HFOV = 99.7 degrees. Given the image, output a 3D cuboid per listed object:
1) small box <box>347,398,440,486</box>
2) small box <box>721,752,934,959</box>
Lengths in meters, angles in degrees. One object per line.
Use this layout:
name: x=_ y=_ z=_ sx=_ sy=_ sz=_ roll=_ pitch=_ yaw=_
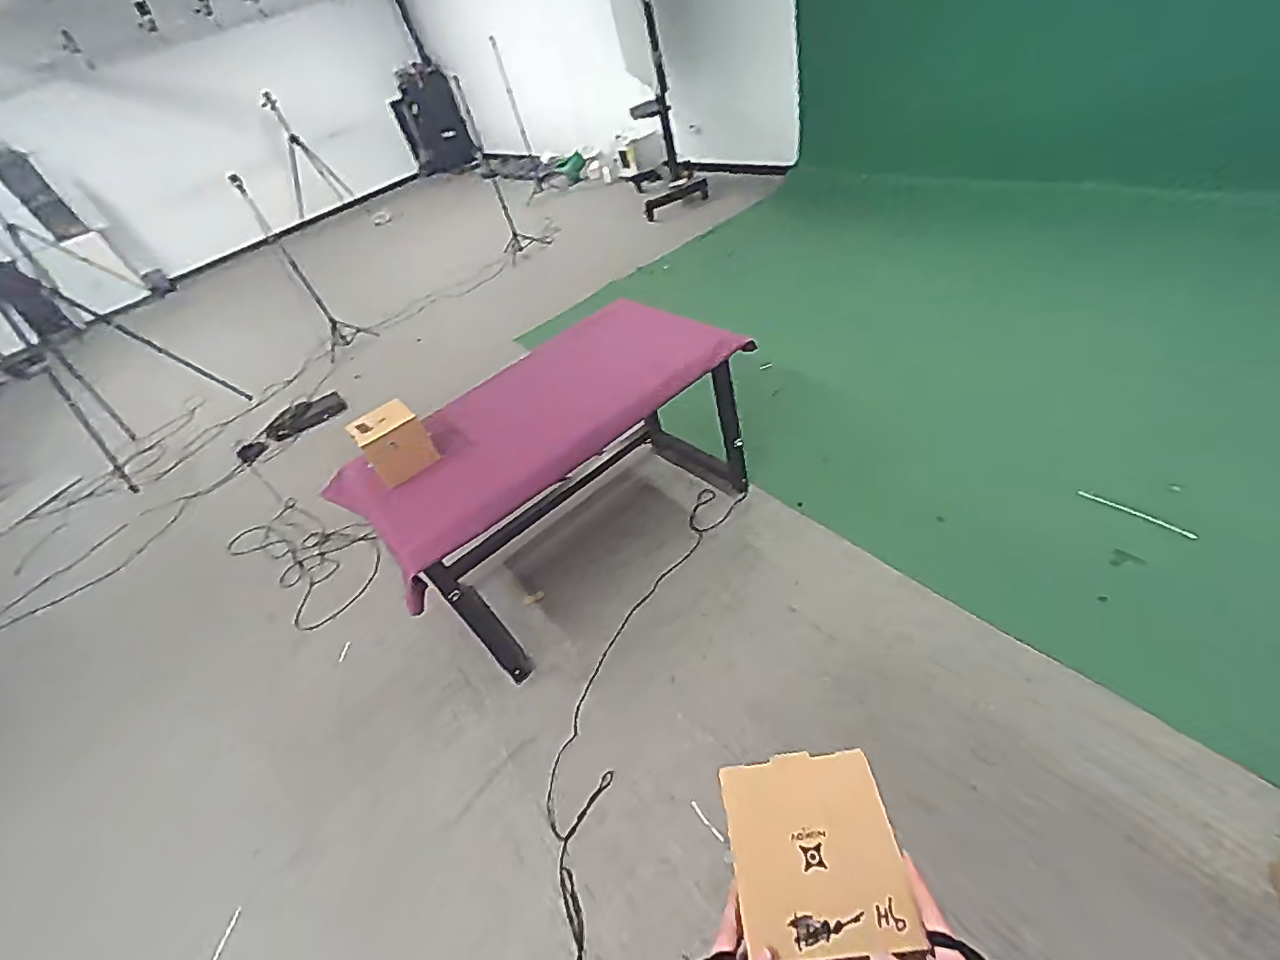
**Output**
small box: x=-0.737 y=-0.113 z=1.628 sx=0.179 sy=0.176 sz=0.168 roll=-36 pitch=45 yaw=-20
small box: x=0.190 y=0.431 z=0.594 sx=0.168 sy=0.176 sz=0.179 roll=-12 pitch=42 yaw=5
